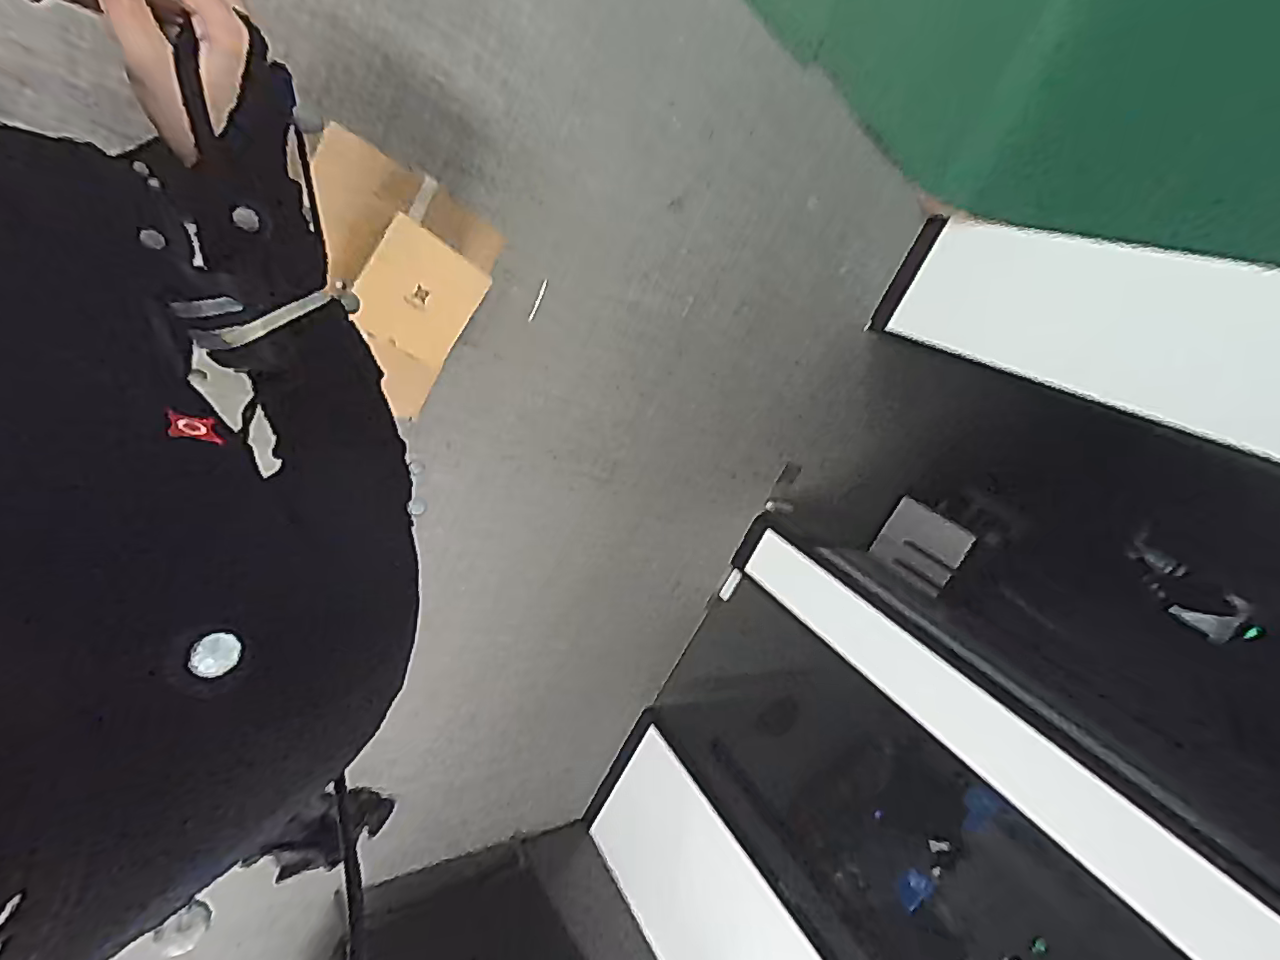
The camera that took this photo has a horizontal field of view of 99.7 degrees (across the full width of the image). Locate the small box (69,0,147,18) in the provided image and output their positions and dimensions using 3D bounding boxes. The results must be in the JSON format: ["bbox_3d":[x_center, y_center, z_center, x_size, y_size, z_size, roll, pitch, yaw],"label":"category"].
[{"bbox_3d":[-0.347,-0.360,0.246,0.168,0.176,0.179,-1,115,-37],"label":"small box"}]

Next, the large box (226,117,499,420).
[{"bbox_3d":[-0.539,-0.394,1.035,0.320,0.320,0.408,20,106,-45],"label":"large box"}]

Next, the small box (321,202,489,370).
[{"bbox_3d":[-0.381,-0.312,0.865,0.168,0.176,0.179,28,100,-47],"label":"small box"}]
